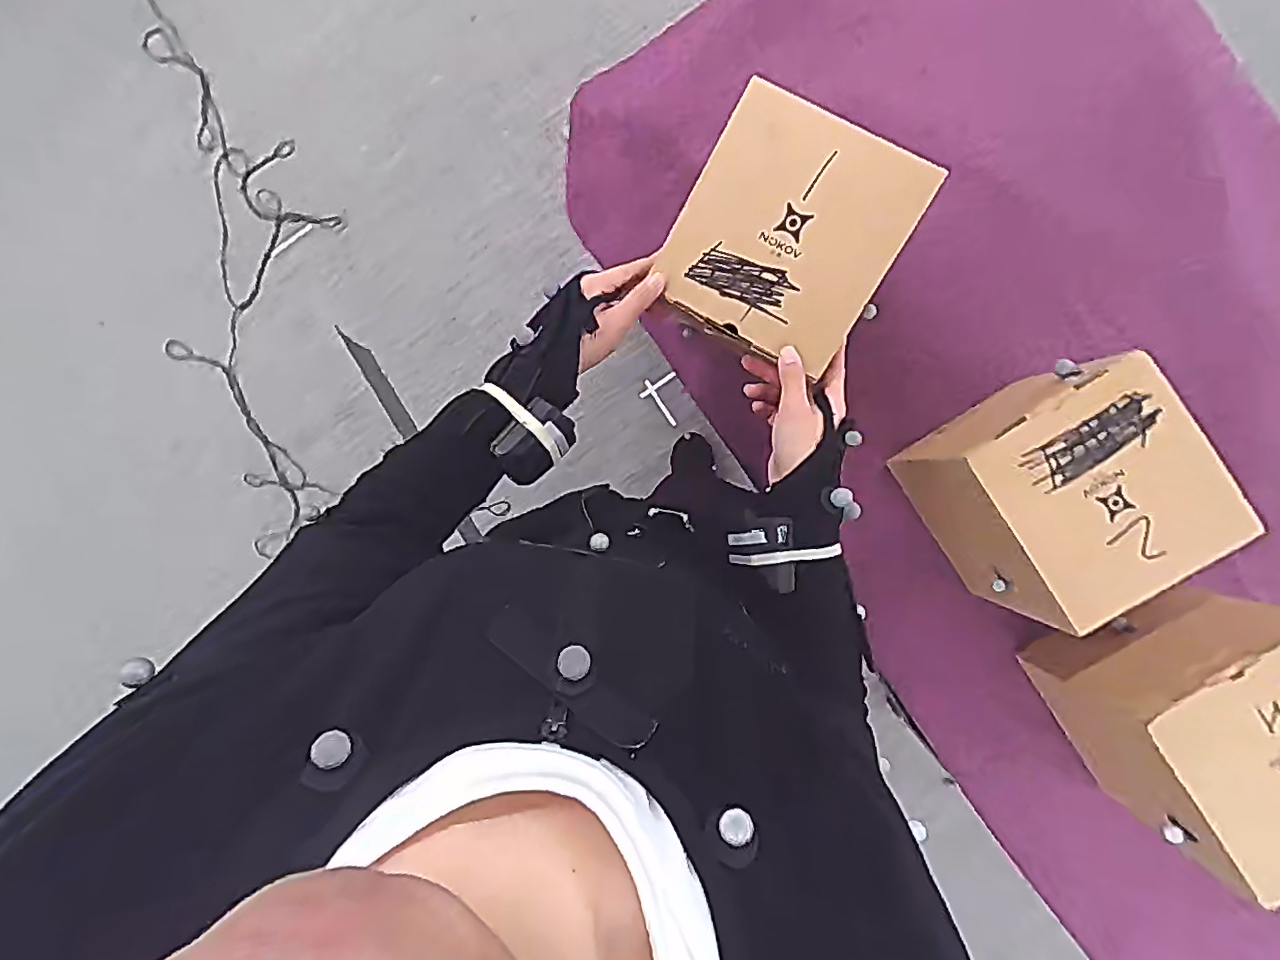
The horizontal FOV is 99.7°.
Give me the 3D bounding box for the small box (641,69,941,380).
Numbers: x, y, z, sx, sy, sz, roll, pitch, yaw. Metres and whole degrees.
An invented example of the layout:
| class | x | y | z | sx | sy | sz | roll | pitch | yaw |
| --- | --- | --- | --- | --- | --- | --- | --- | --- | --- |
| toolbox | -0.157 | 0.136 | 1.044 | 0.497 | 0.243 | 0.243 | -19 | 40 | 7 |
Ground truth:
| class | x | y | z | sx | sy | sz | roll | pitch | yaw |
| --- | --- | --- | --- | --- | --- | --- | --- | --- | --- |
| small box | 0.125 | -0.205 | 0.493 | 0.168 | 0.176 | 0.179 | 31 | 101 | 5 |
